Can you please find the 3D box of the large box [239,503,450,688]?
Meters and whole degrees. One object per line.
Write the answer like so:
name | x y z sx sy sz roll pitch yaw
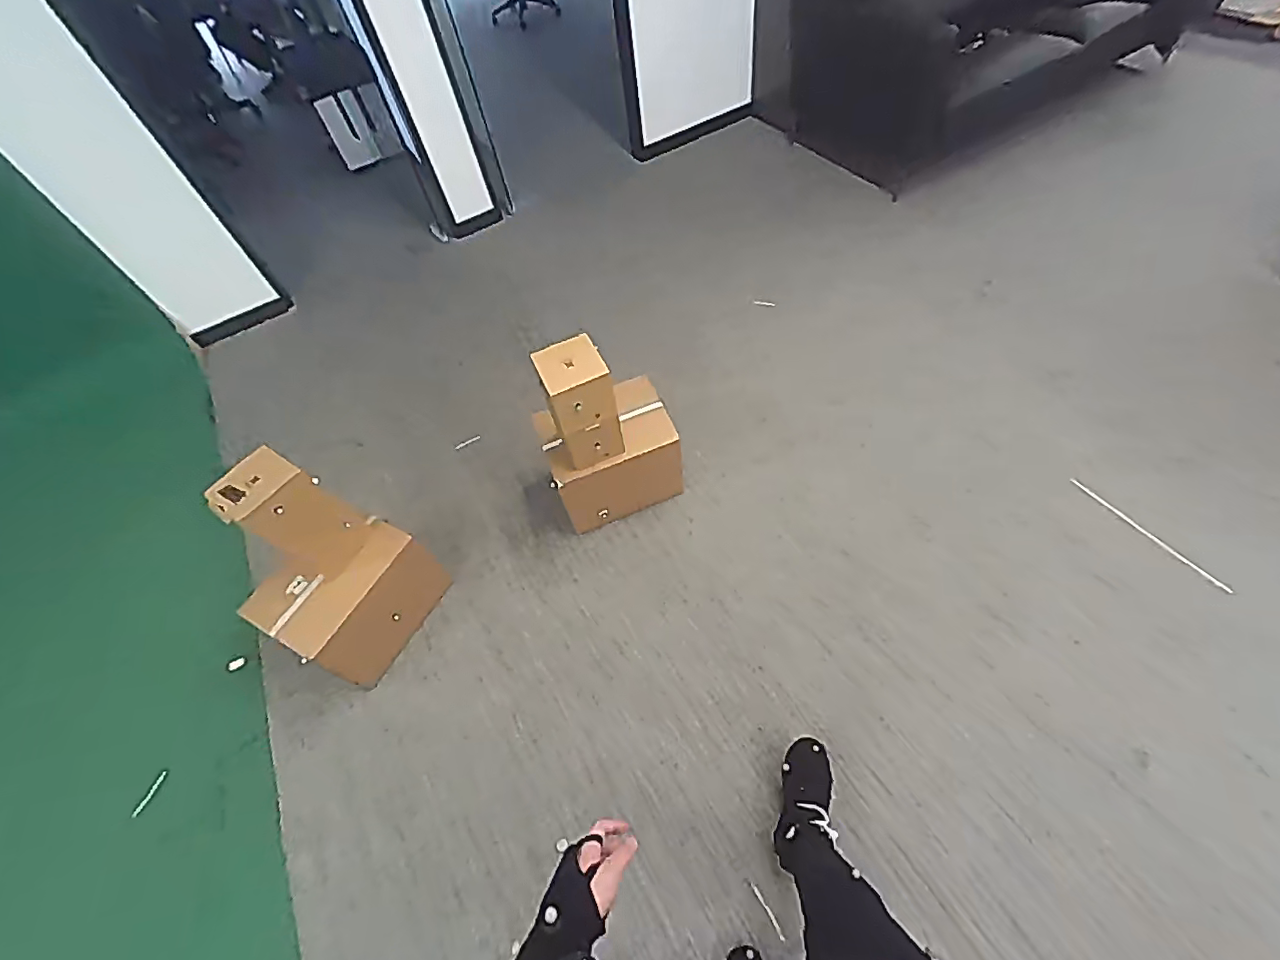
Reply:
large box | -0.865 0.348 1.644 0.320 0.320 0.408 20 62 21

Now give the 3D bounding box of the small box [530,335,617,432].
small box | -0.175 -0.254 1.467 0.168 0.176 0.179 -24 56 -8

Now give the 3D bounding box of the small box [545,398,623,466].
small box | -0.161 -0.162 1.602 0.168 0.176 0.179 -23 57 -9

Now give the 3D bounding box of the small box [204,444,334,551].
small box | -0.920 0.047 1.357 0.168 0.176 0.179 27 63 24
